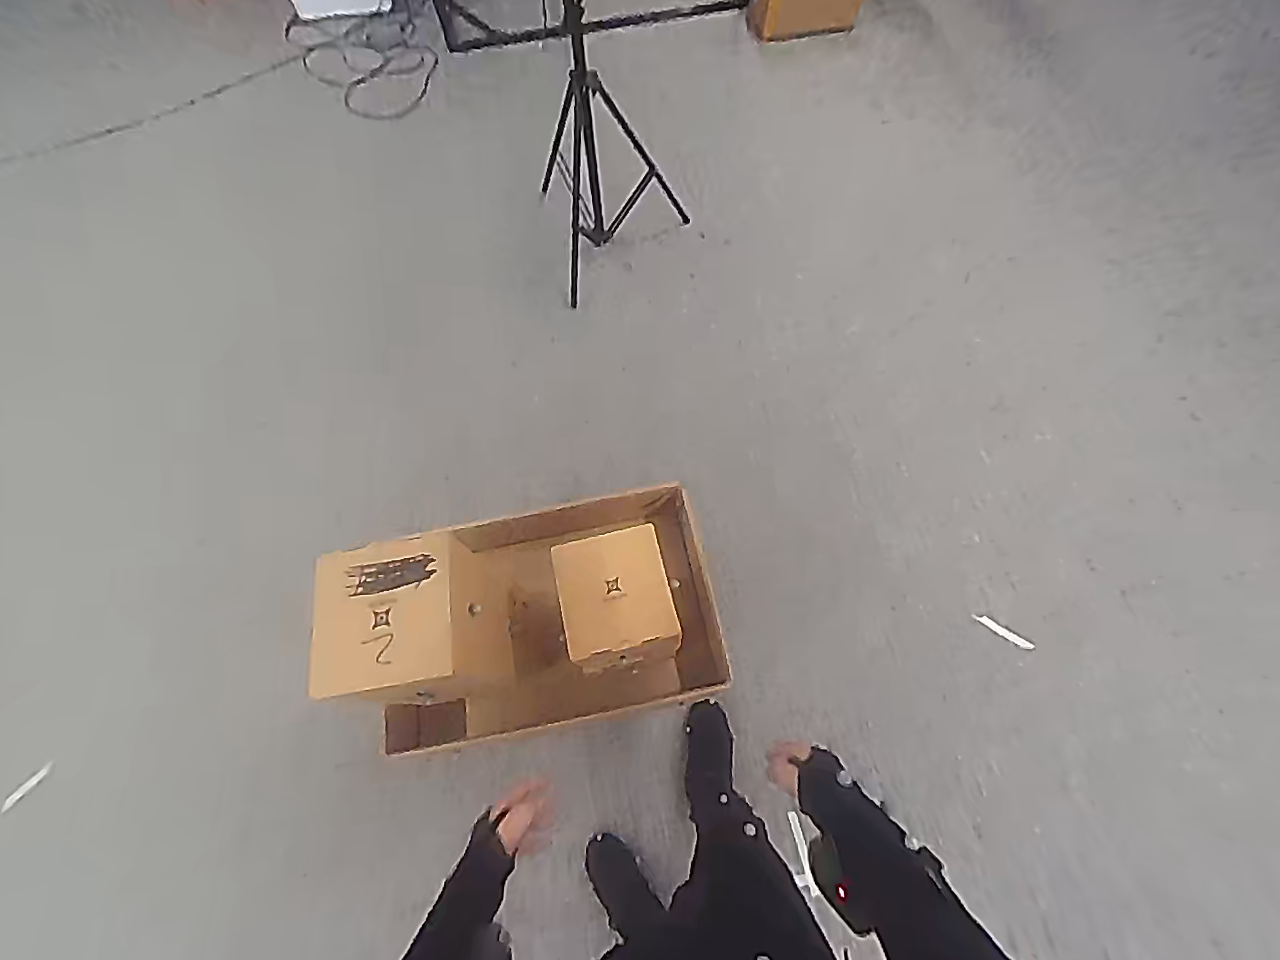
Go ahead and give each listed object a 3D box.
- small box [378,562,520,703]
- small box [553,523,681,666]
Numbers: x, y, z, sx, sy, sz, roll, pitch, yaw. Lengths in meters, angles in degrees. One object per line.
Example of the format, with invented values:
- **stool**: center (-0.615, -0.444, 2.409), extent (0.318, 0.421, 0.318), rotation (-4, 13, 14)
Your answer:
- **small box**: center (-0.298, 0.251, 0.870), extent (0.168, 0.176, 0.179), rotation (-11, 65, -1)
- **small box**: center (-0.036, 0.193, 0.883), extent (0.168, 0.176, 0.179), rotation (-13, 67, -3)
